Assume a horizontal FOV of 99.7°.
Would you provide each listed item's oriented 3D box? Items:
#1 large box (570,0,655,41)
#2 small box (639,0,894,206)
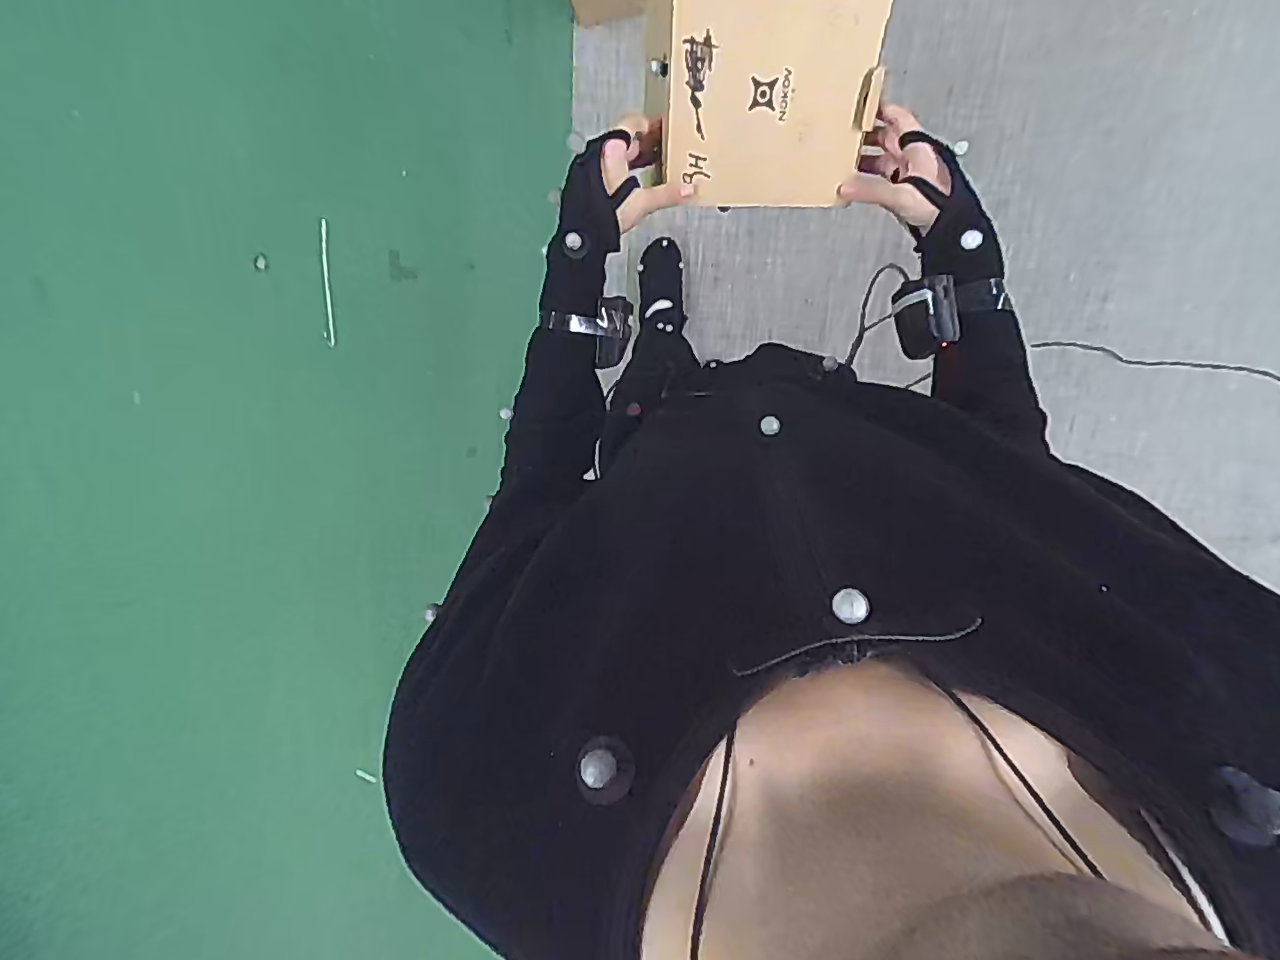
[{"bbox_3d":[0.025,-1.161,1.060,0.408,0.320,0.320,-9,103,7],"label":"large box"},{"bbox_3d":[0.099,-0.360,0.507,0.179,0.176,0.168,-2,122,-7],"label":"small box"}]
